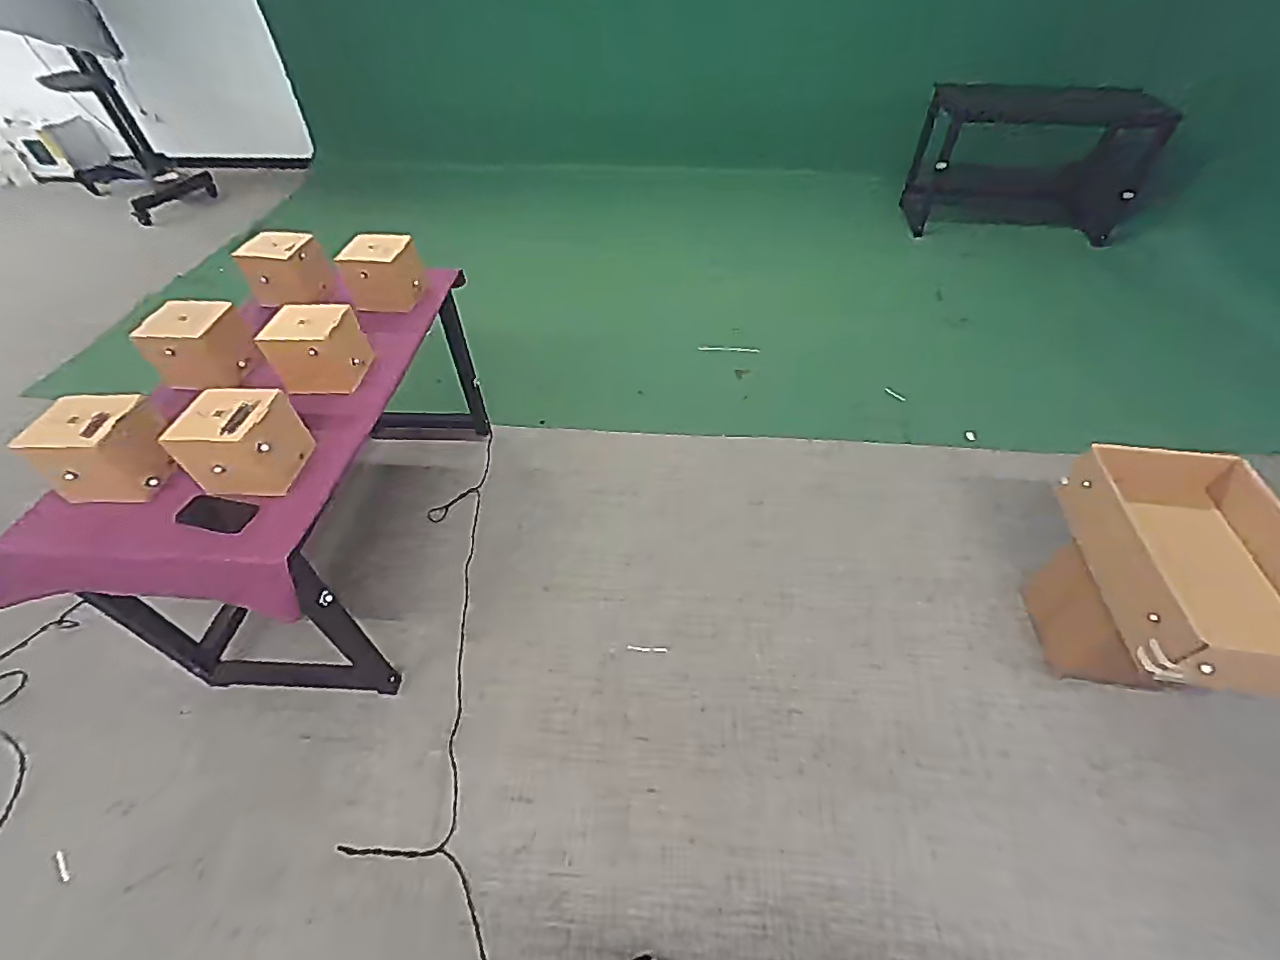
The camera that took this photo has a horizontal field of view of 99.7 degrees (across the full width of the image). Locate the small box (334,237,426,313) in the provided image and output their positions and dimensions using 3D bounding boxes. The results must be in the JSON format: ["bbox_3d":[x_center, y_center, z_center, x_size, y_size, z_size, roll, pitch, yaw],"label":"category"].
[{"bbox_3d":[-0.796,-0.634,1.676,0.179,0.176,0.168,4,49,4],"label":"small box"}]

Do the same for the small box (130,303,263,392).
[{"bbox_3d":[-1.157,-0.348,1.427,0.179,0.176,0.168,2,49,2],"label":"small box"}]

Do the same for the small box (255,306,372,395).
[{"bbox_3d":[-0.840,-0.336,1.411,0.179,0.176,0.168,0,47,2],"label":"small box"}]

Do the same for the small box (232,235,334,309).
[{"bbox_3d":[-1.112,-0.651,1.701,0.179,0.176,0.168,4,49,5],"label":"small box"}]

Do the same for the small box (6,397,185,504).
[{"bbox_3d":[-1.150,-0.061,1.164,0.179,0.176,0.168,-2,47,1],"label":"small box"}]
